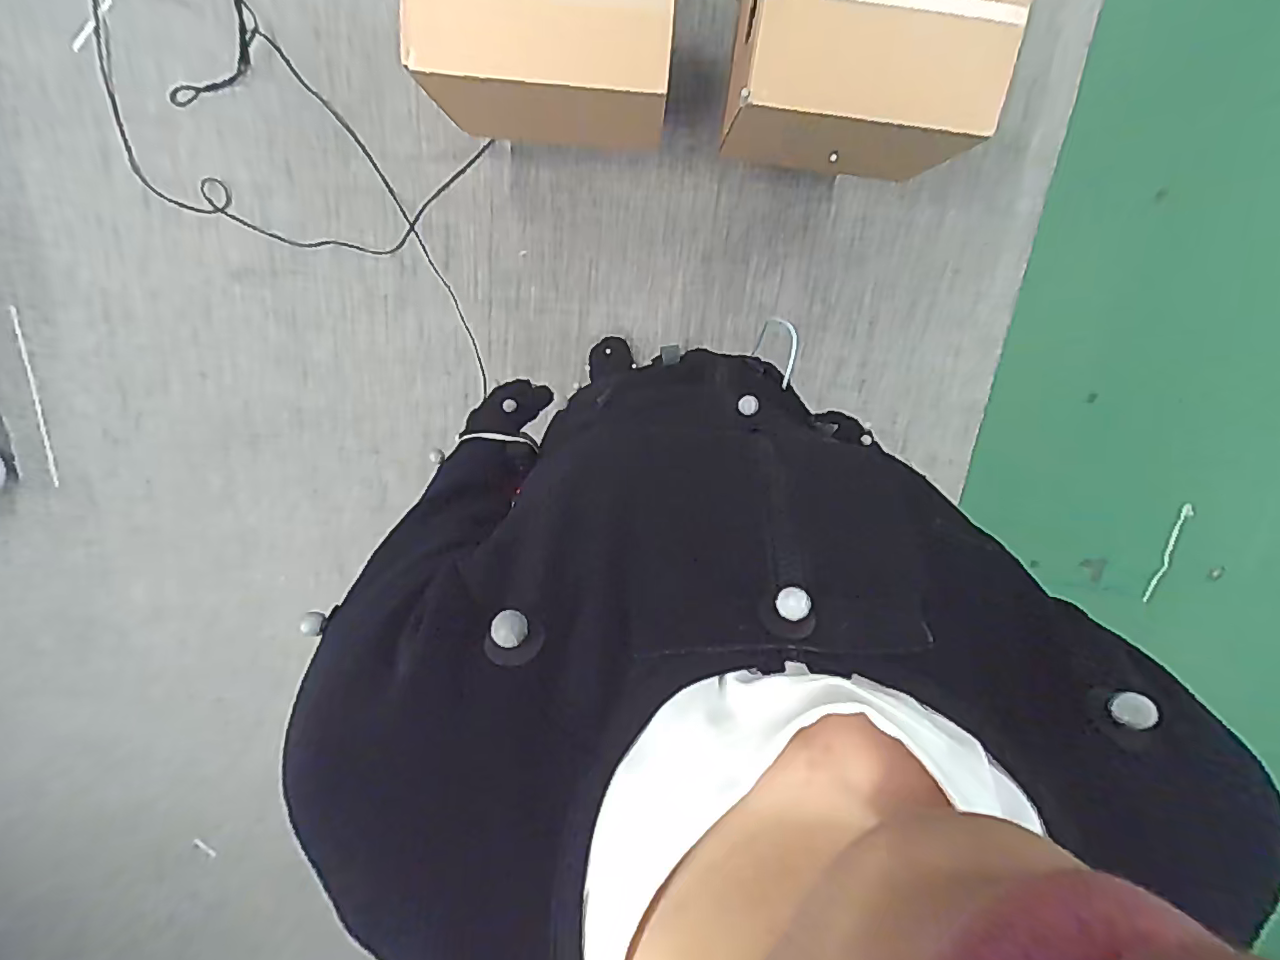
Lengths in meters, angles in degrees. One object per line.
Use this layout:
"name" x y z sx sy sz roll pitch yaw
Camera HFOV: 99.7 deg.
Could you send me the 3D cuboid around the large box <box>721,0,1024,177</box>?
"large box" 0.385 -0.764 0.969 0.408 0.320 0.320 7 107 -2
